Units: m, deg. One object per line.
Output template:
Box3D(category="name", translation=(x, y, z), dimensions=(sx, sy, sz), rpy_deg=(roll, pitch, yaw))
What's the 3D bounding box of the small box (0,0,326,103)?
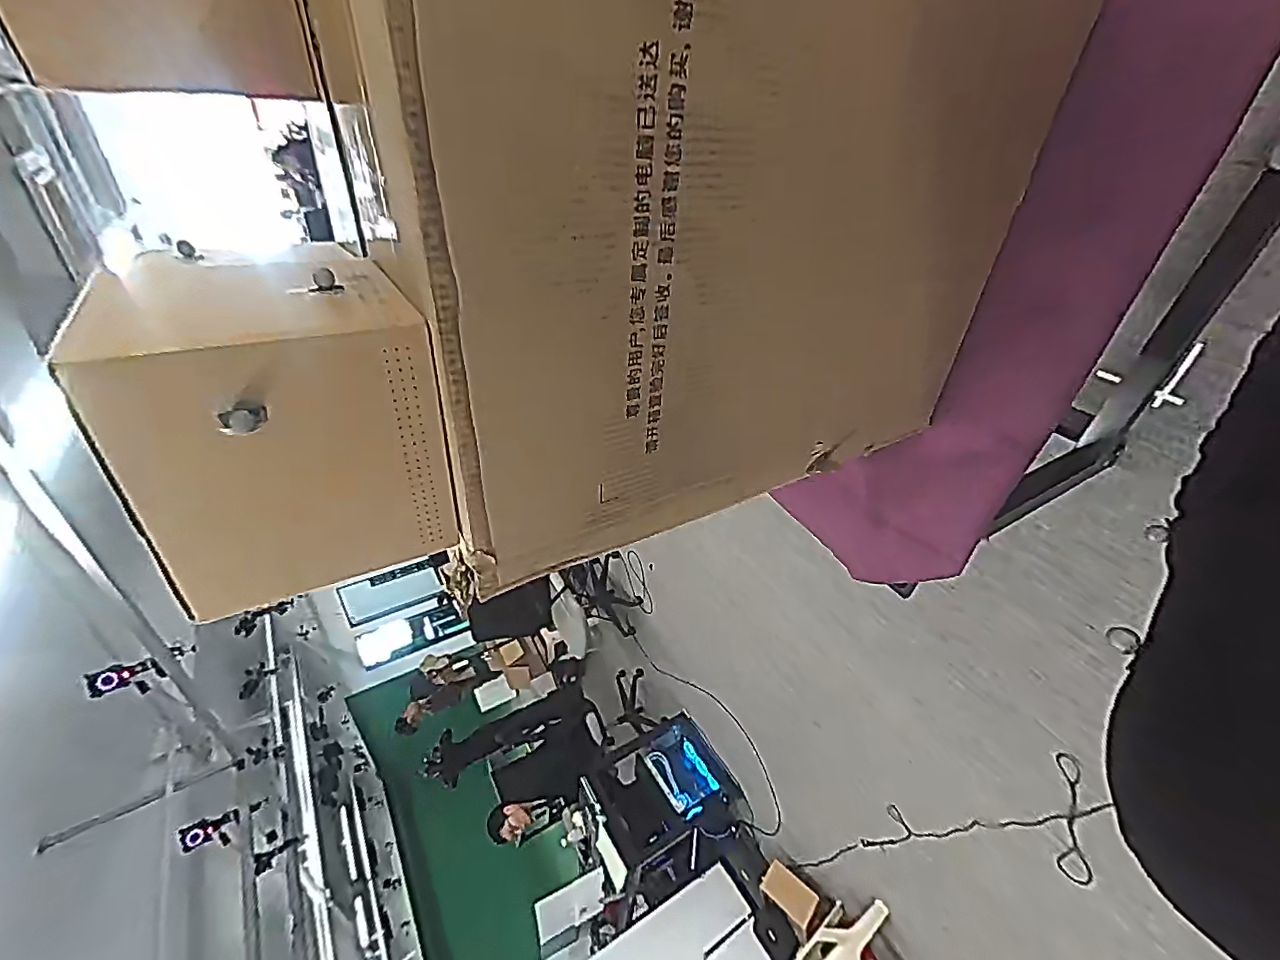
Box3D(category="small box", translation=(-0.344, -0.380, 0.374), dimensions=(0.168, 0.176, 0.179), rpy_deg=(49, 147, 38))
